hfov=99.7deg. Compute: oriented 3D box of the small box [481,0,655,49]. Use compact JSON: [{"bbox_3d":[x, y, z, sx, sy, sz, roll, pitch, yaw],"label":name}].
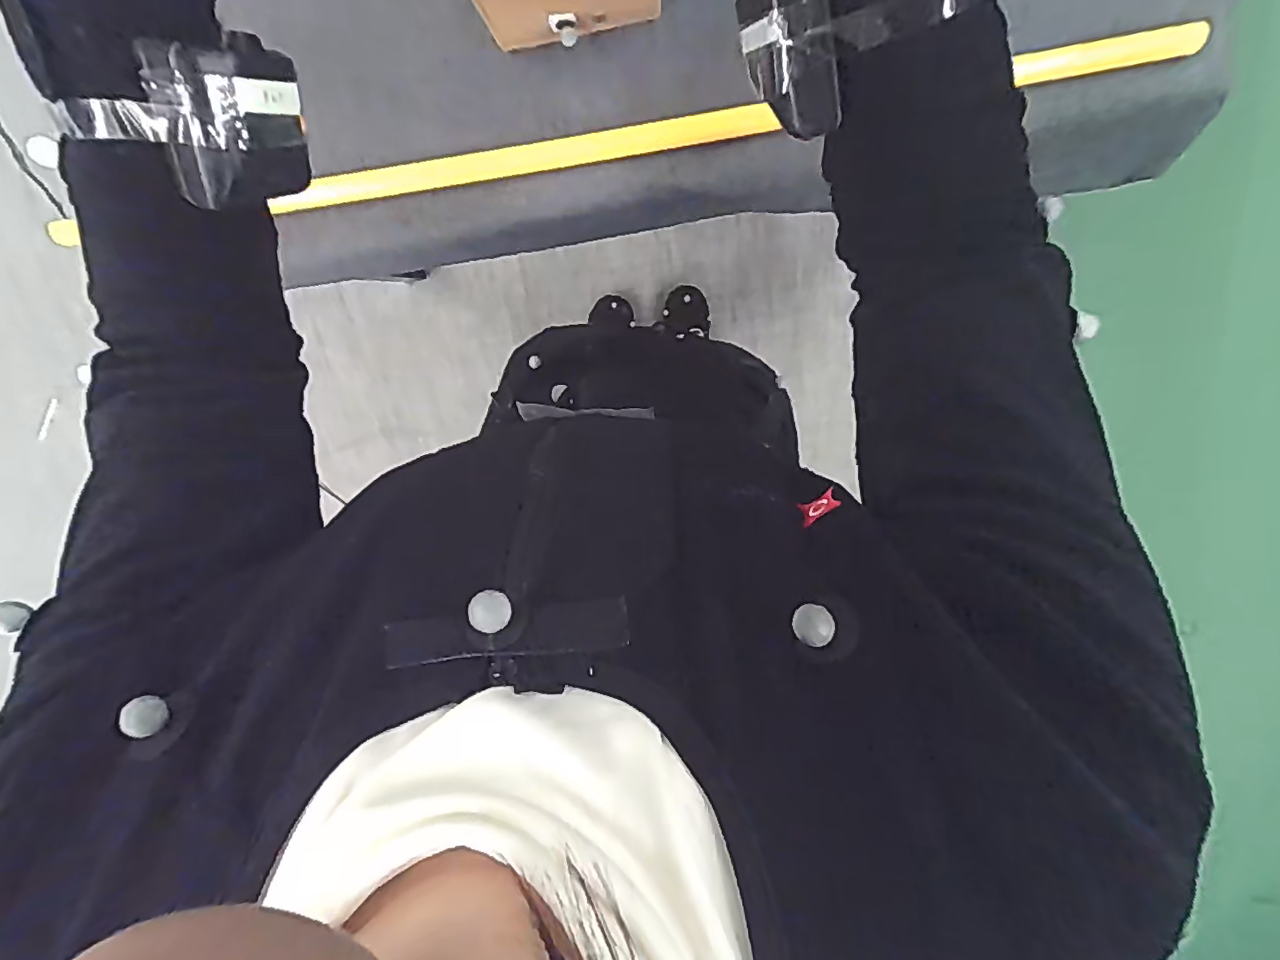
[{"bbox_3d":[-0.080,-0.512,0.452,0.168,0.176,0.179,-10,109,5],"label":"small box"}]
